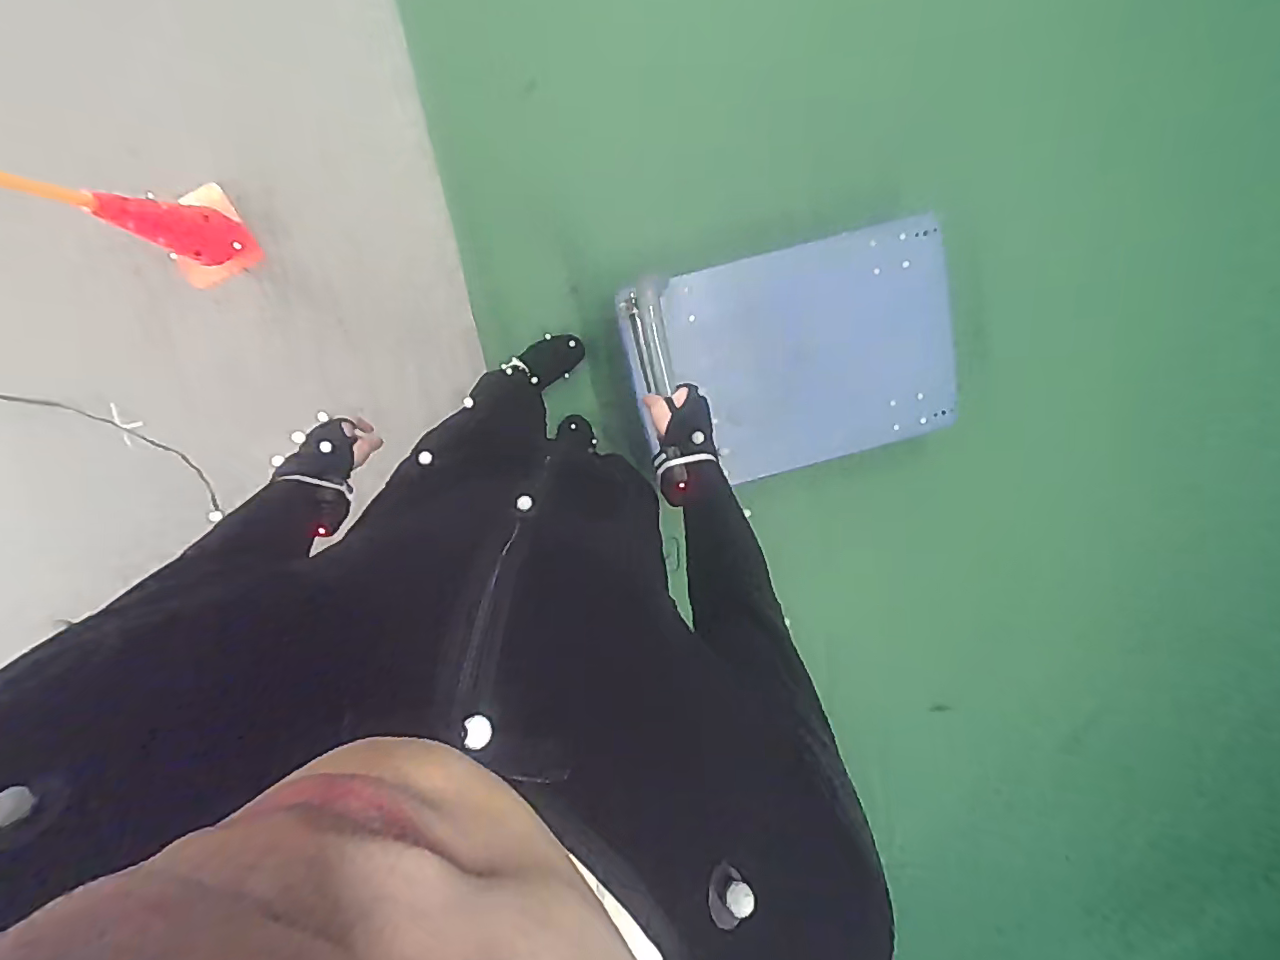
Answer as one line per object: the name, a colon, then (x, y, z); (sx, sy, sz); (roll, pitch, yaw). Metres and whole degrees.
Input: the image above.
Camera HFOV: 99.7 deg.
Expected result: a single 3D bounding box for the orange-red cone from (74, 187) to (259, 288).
orange-red cone: (-1.083, -0.576, 1.205); (0.198, 0.360, 0.199); (-26, 103, 0)
